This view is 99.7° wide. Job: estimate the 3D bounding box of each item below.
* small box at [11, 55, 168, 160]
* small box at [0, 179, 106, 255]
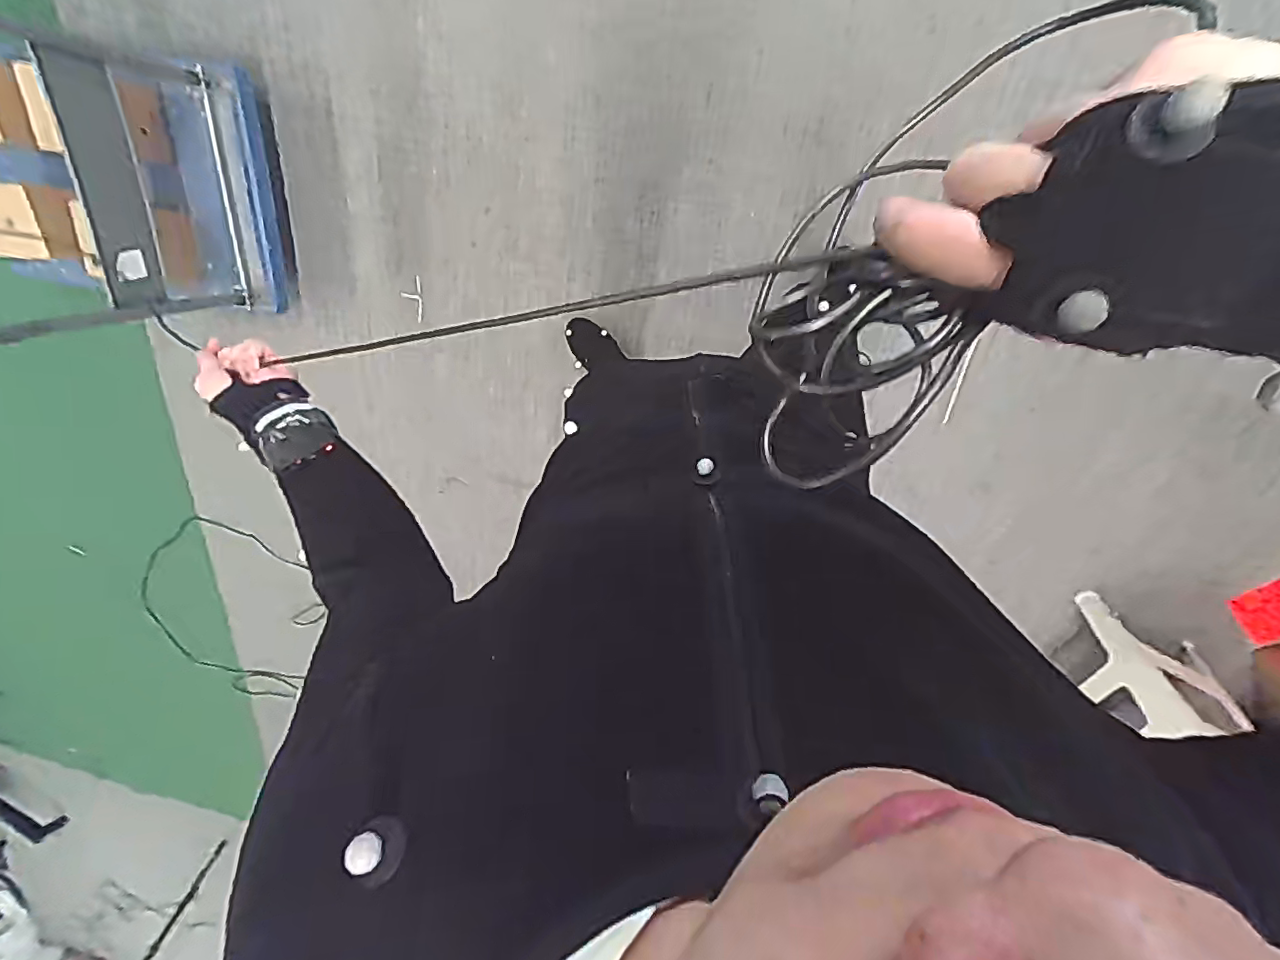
[{"bbox_3d":[-1.270,-0.858,1.261,0.179,0.176,0.168,11,116,5],"label":"small box"},{"bbox_3d":[-1.546,-0.680,1.397,0.179,0.176,0.168,7,115,8],"label":"small box"}]
